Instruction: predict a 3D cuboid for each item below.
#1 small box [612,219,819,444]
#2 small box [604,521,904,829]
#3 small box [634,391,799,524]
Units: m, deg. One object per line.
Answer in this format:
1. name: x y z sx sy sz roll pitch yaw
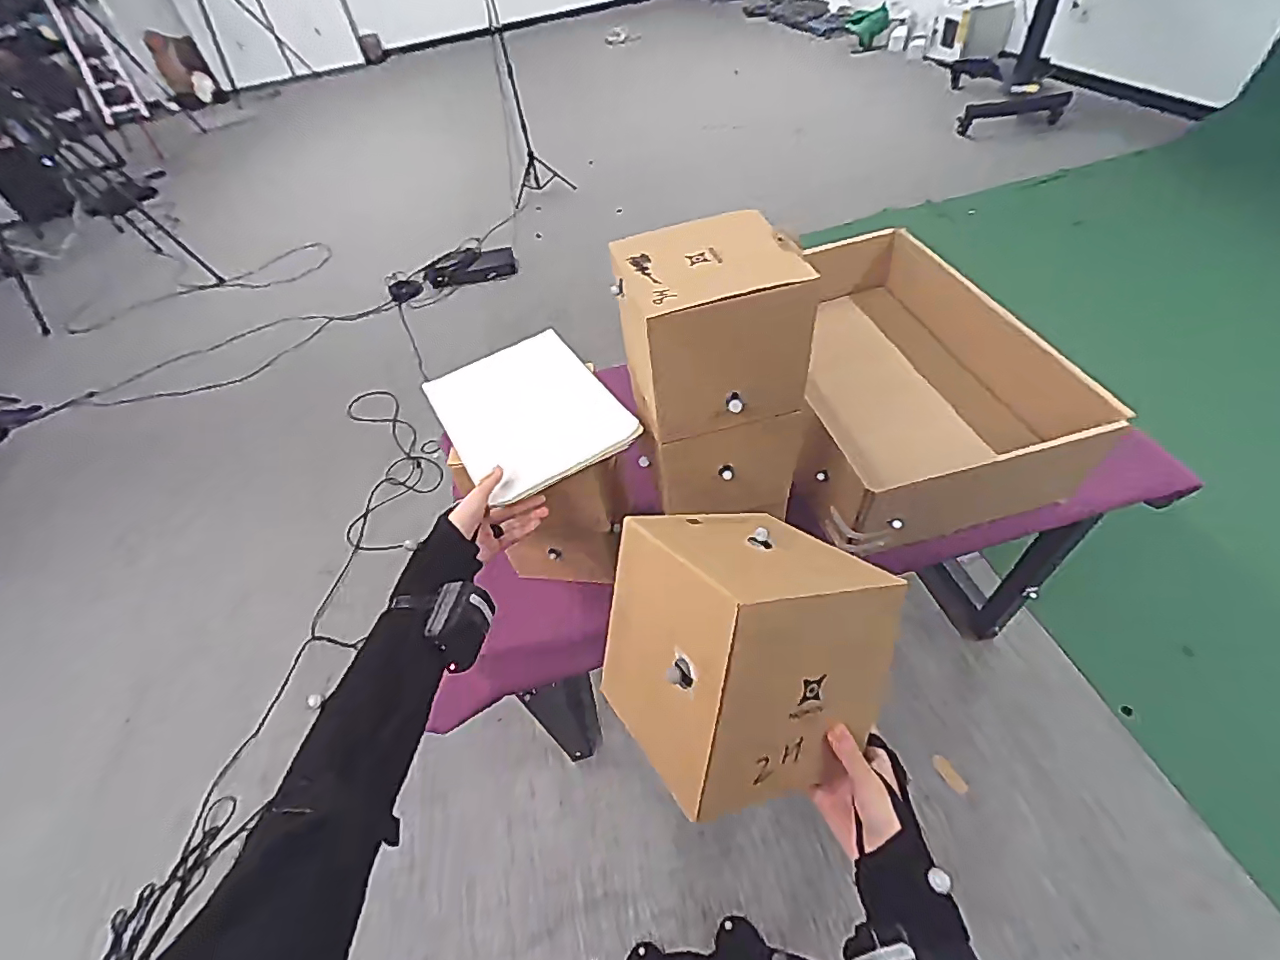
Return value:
1. small box: 0.076 -0.166 0.615 0.179 0.176 0.168 -14 47 -5
2. small box: 0.082 0.138 0.458 0.168 0.179 0.176 2 14 -29
3. small box: 0.095 -0.058 0.738 0.179 0.176 0.168 -14 48 -4
